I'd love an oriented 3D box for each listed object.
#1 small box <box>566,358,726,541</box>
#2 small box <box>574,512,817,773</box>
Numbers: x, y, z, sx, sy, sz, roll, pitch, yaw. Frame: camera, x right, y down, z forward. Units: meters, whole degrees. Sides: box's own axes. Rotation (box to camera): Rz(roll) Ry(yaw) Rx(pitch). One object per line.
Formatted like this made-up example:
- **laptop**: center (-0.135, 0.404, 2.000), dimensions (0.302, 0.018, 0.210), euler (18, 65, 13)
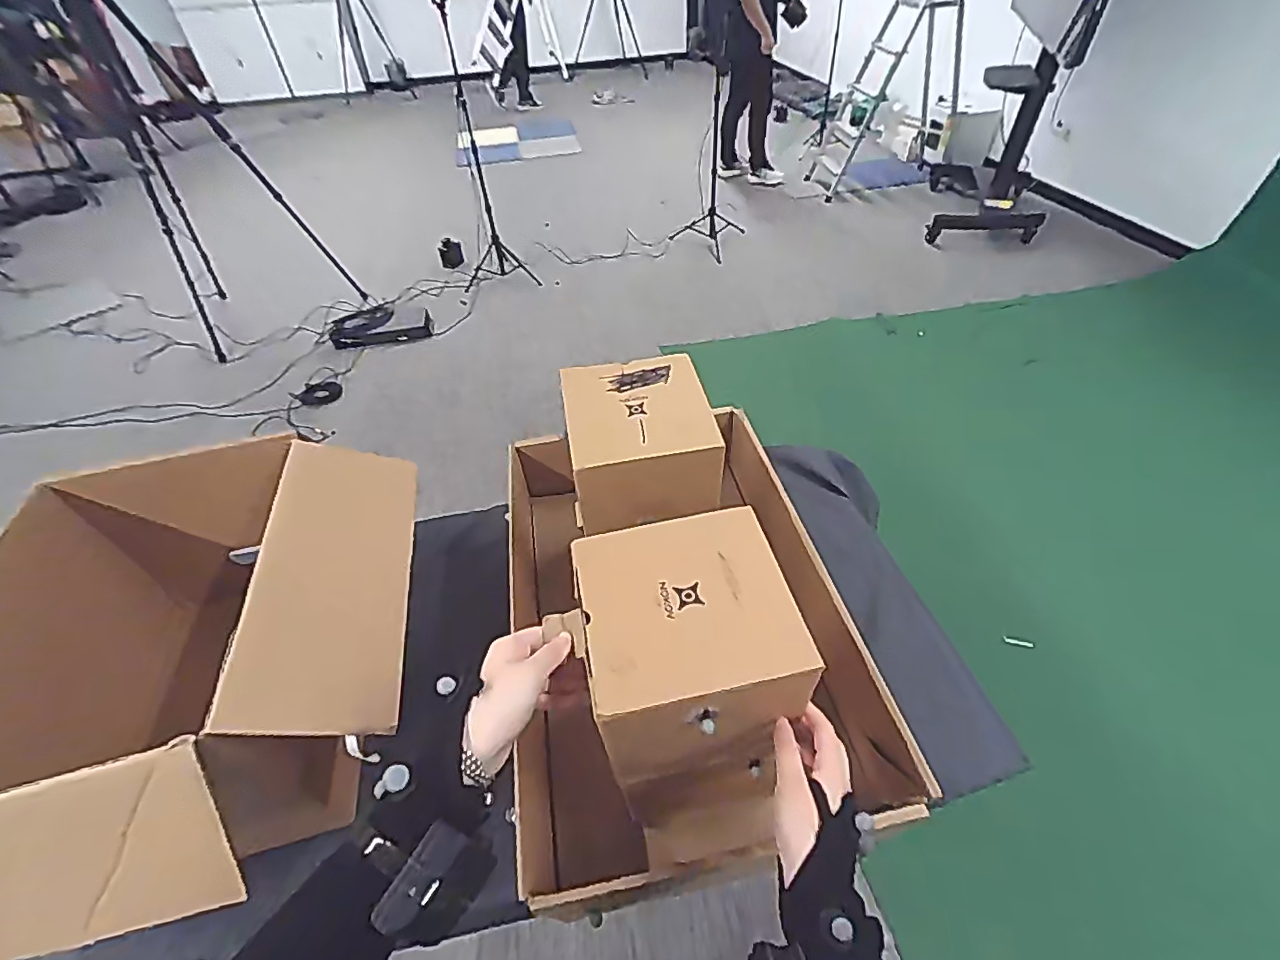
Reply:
- **small box**: center (0.001, -0.029, 0.688), dimensions (0.168, 0.176, 0.179), euler (-8, 49, -5)
- **small box**: center (0.042, 0.157, 0.516), dimensions (0.179, 0.176, 0.168), euler (-10, 48, -6)
